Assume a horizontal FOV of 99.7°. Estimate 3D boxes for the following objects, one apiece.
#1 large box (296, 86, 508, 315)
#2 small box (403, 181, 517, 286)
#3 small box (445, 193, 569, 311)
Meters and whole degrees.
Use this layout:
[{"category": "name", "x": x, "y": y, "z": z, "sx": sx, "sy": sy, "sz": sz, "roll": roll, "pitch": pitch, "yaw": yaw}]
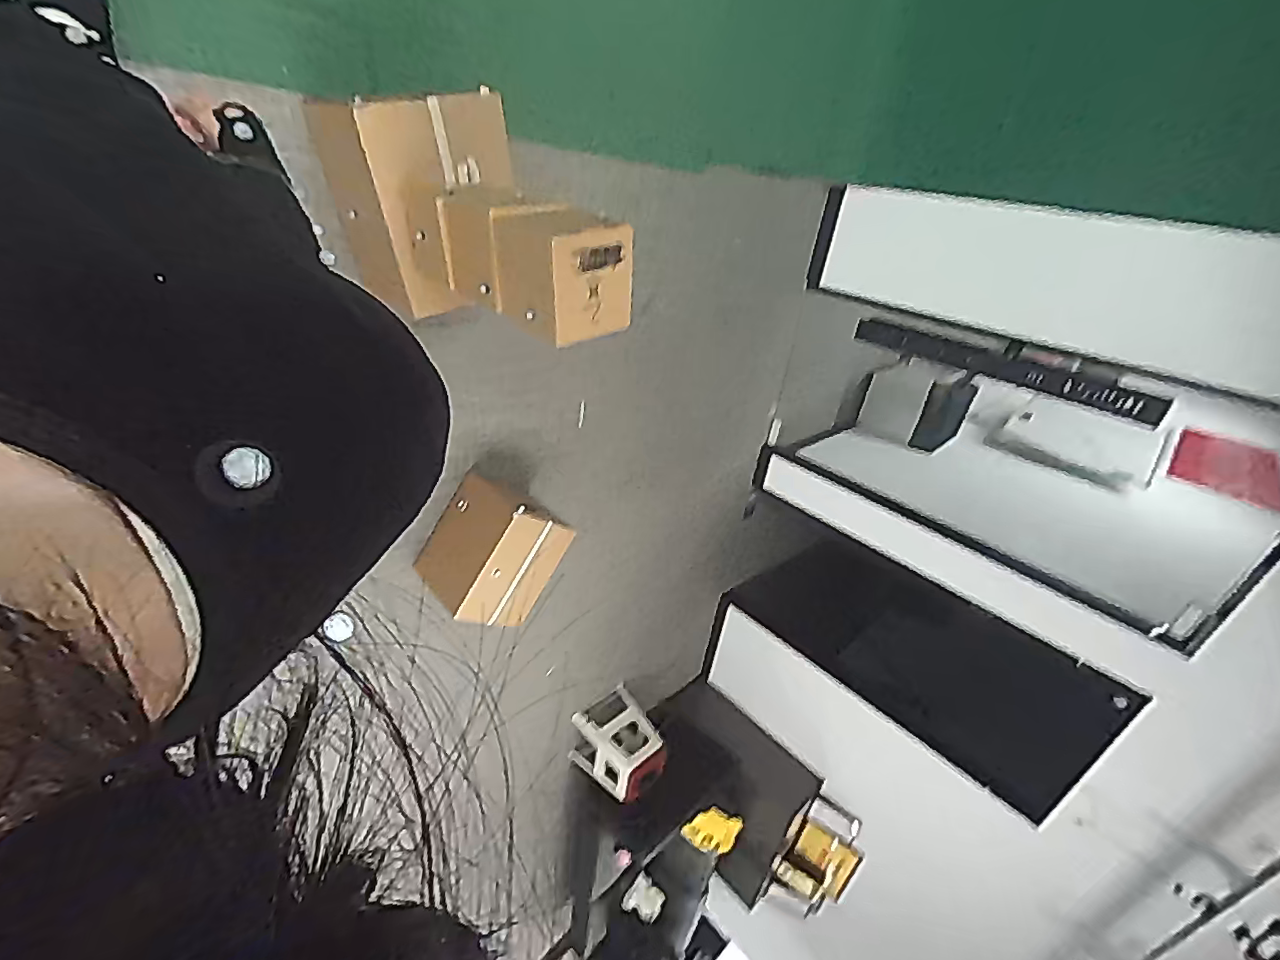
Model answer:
[{"category": "large box", "x": -0.512, "y": -0.652, "z": 1.253, "sx": 0.320, "sy": 0.320, "sz": 0.408, "roll": -32, "pitch": 136, "yaw": -32}, {"category": "small box", "x": -0.365, "y": -0.511, "z": 1.110, "sx": 0.179, "sy": 0.176, "sz": 0.168, "roll": -27, "pitch": 135, "yaw": -35}, {"category": "small box", "x": -0.250, "y": -0.438, "z": 1.022, "sx": 0.168, "sy": 0.176, "sz": 0.179, "roll": -26, "pitch": 135, "yaw": -36}]
